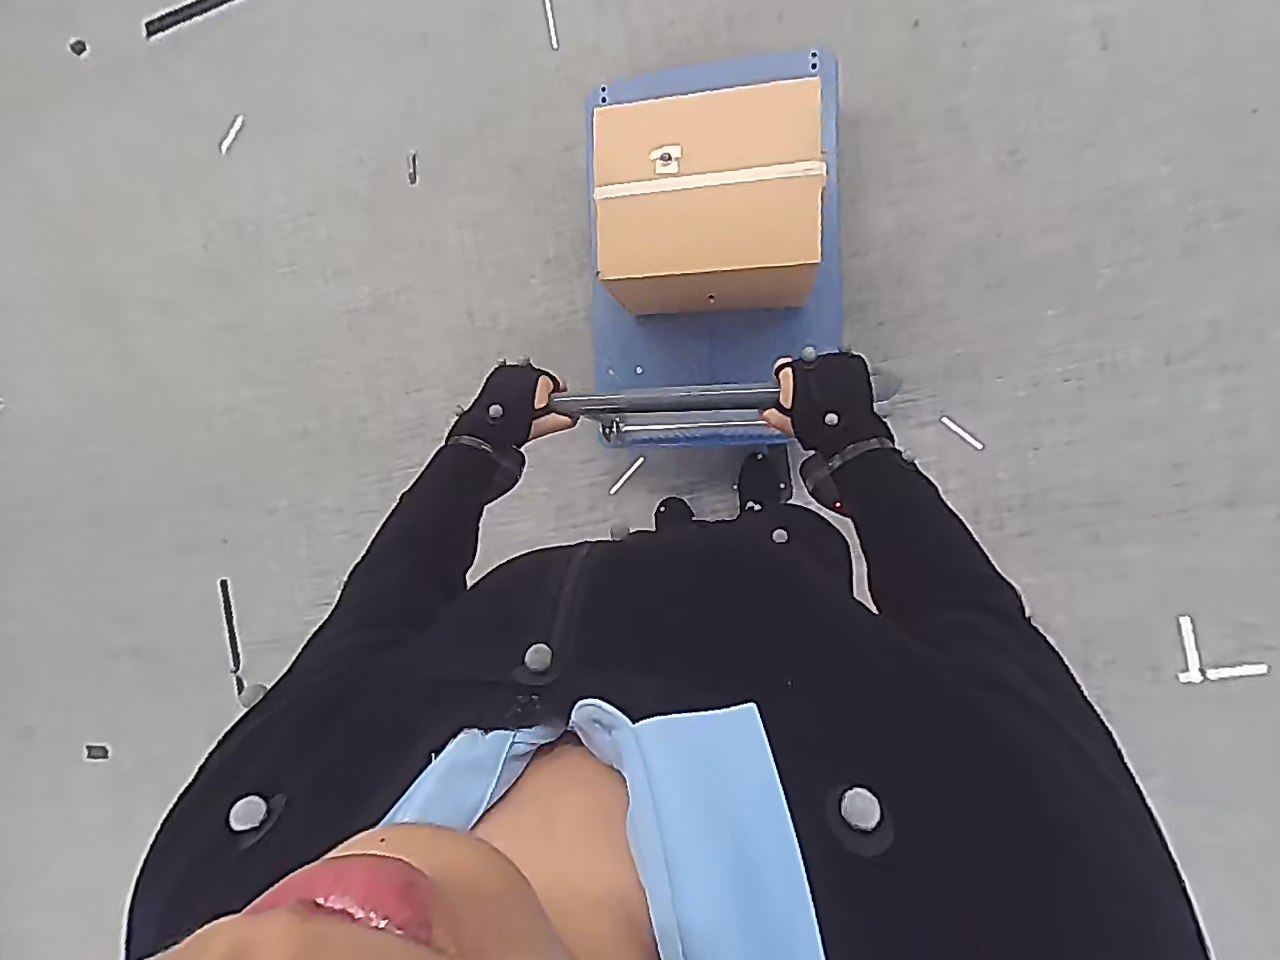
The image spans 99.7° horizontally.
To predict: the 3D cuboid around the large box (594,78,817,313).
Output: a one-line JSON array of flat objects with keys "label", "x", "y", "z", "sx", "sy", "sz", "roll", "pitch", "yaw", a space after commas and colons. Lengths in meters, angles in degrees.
[{"label": "large box", "x": 0.145, "y": -0.550, "z": 1.127, "sx": 0.408, "sy": 0.320, "sz": 0.320, "roll": -1, "pitch": 93, "yaw": 12}]
